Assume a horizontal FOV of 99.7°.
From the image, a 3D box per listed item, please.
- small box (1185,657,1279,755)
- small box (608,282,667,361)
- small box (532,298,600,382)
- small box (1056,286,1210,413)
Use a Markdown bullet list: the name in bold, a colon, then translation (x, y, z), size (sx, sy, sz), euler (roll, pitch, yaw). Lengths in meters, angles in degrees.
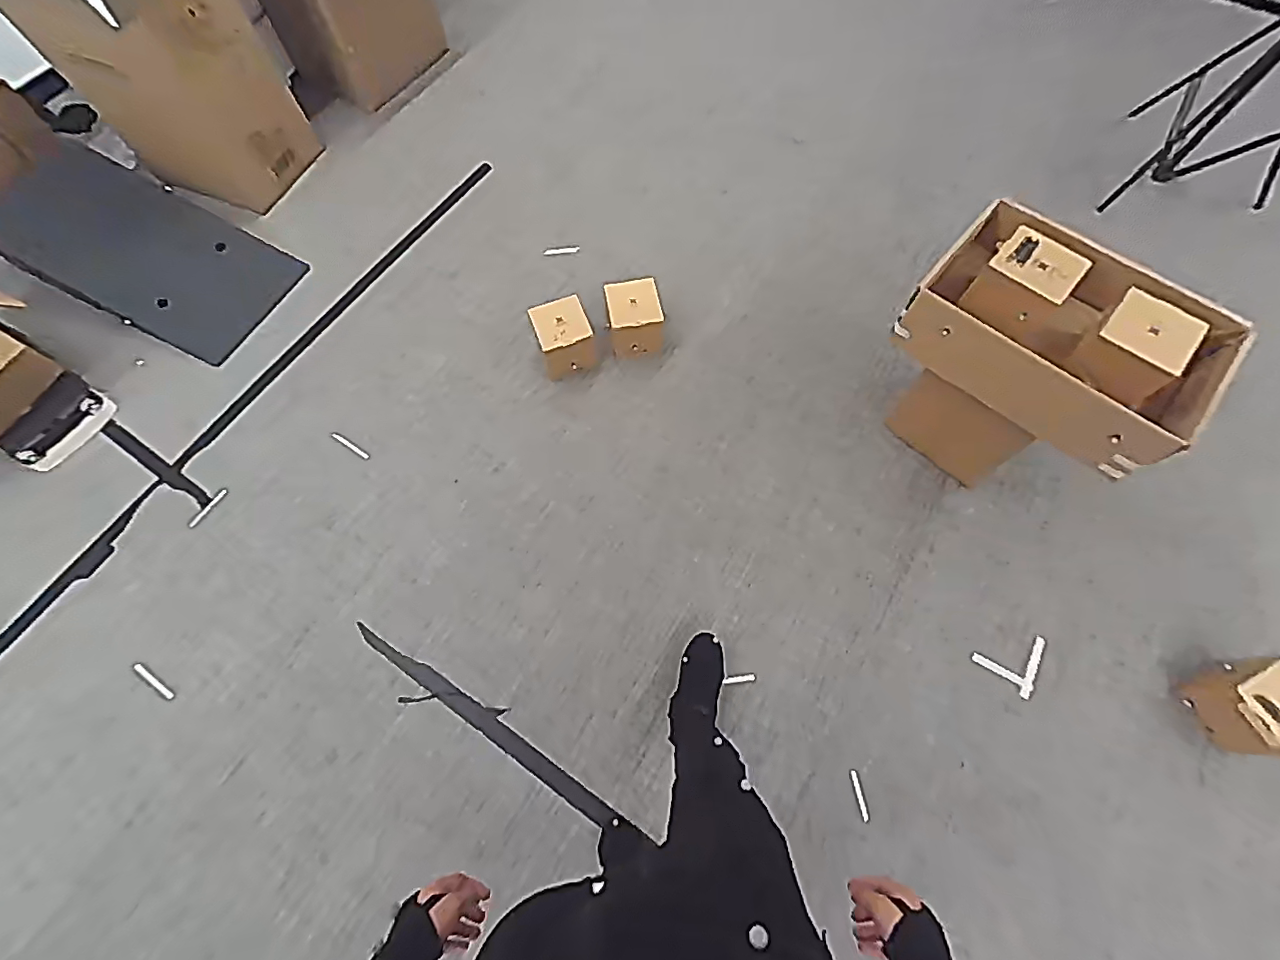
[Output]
- **small box**: translation (1.494, 0.548, 1.305), size (0.179, 0.176, 0.168), euler (-24, 69, -9)
- **small box**: translation (-0.011, -0.523, 1.791), size (0.168, 0.176, 0.179), euler (-11, 69, -3)
- **small box**: translation (-0.238, -0.454, 1.764), size (0.168, 0.176, 0.179), euler (-20, 69, -6)
- **small box**: translation (1.088, -0.286, 1.207), size (0.168, 0.176, 0.179), euler (39, 70, 17)
